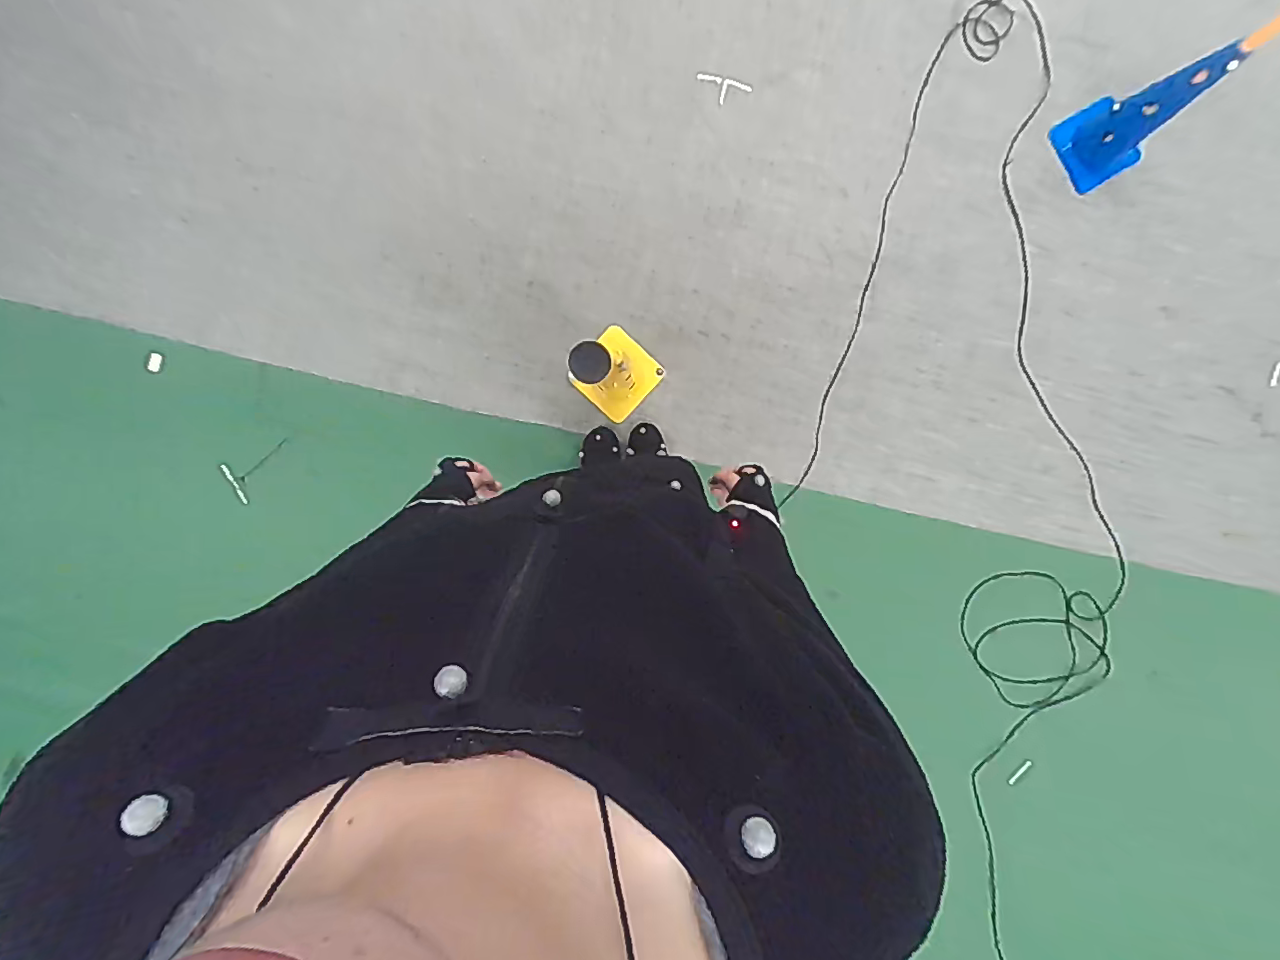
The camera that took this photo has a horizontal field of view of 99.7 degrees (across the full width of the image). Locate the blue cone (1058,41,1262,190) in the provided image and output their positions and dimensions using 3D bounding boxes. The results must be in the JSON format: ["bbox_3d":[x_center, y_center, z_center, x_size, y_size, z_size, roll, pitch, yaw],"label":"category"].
[{"bbox_3d":[1.239,-0.894,1.287,0.193,0.380,0.192,-32,94,-2],"label":"blue cone"}]
